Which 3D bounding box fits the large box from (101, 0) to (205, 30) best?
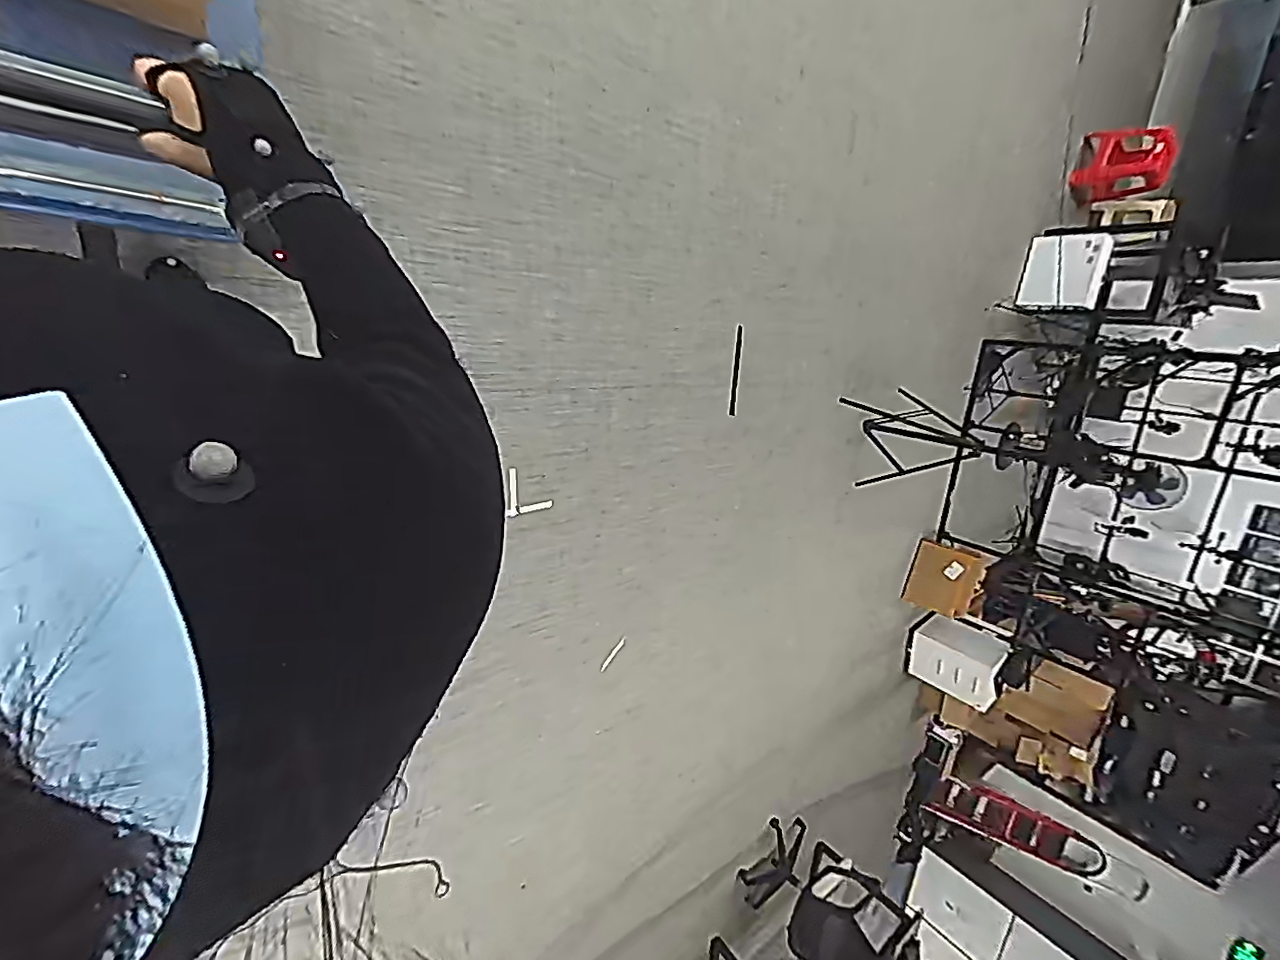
[{"bbox_3d":[-0.795,-0.845,0.650,0.408,0.320,0.320,-5,109,-38],"label":"large box"}]
